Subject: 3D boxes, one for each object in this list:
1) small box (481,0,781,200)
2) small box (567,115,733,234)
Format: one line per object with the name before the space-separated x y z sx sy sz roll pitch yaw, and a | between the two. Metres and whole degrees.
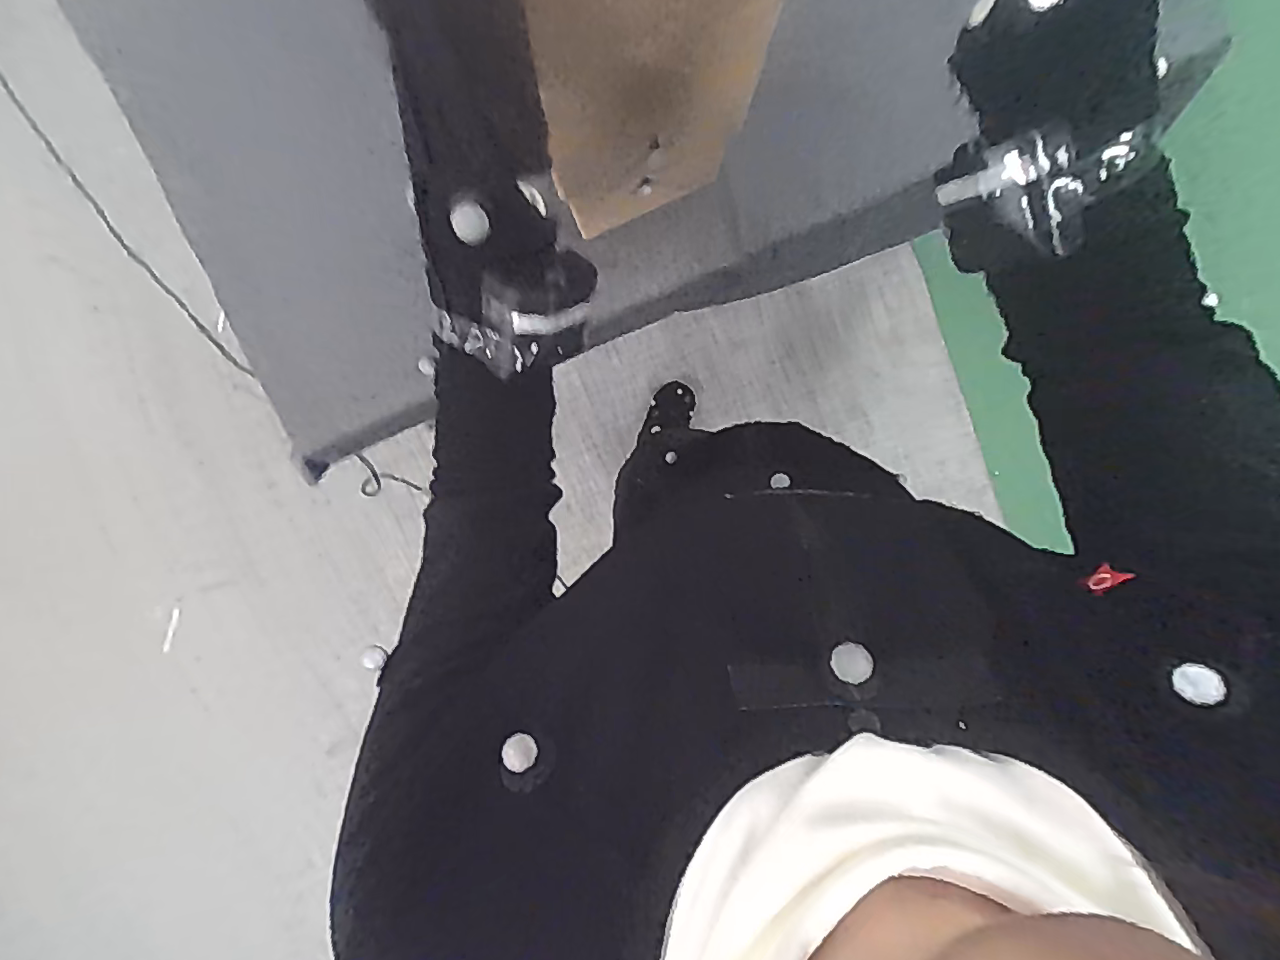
small box | -0.020 -0.351 0.411 0.179 0.176 0.168 -23 98 5
small box | -0.020 -0.392 0.568 0.179 0.176 0.168 -23 96 6
